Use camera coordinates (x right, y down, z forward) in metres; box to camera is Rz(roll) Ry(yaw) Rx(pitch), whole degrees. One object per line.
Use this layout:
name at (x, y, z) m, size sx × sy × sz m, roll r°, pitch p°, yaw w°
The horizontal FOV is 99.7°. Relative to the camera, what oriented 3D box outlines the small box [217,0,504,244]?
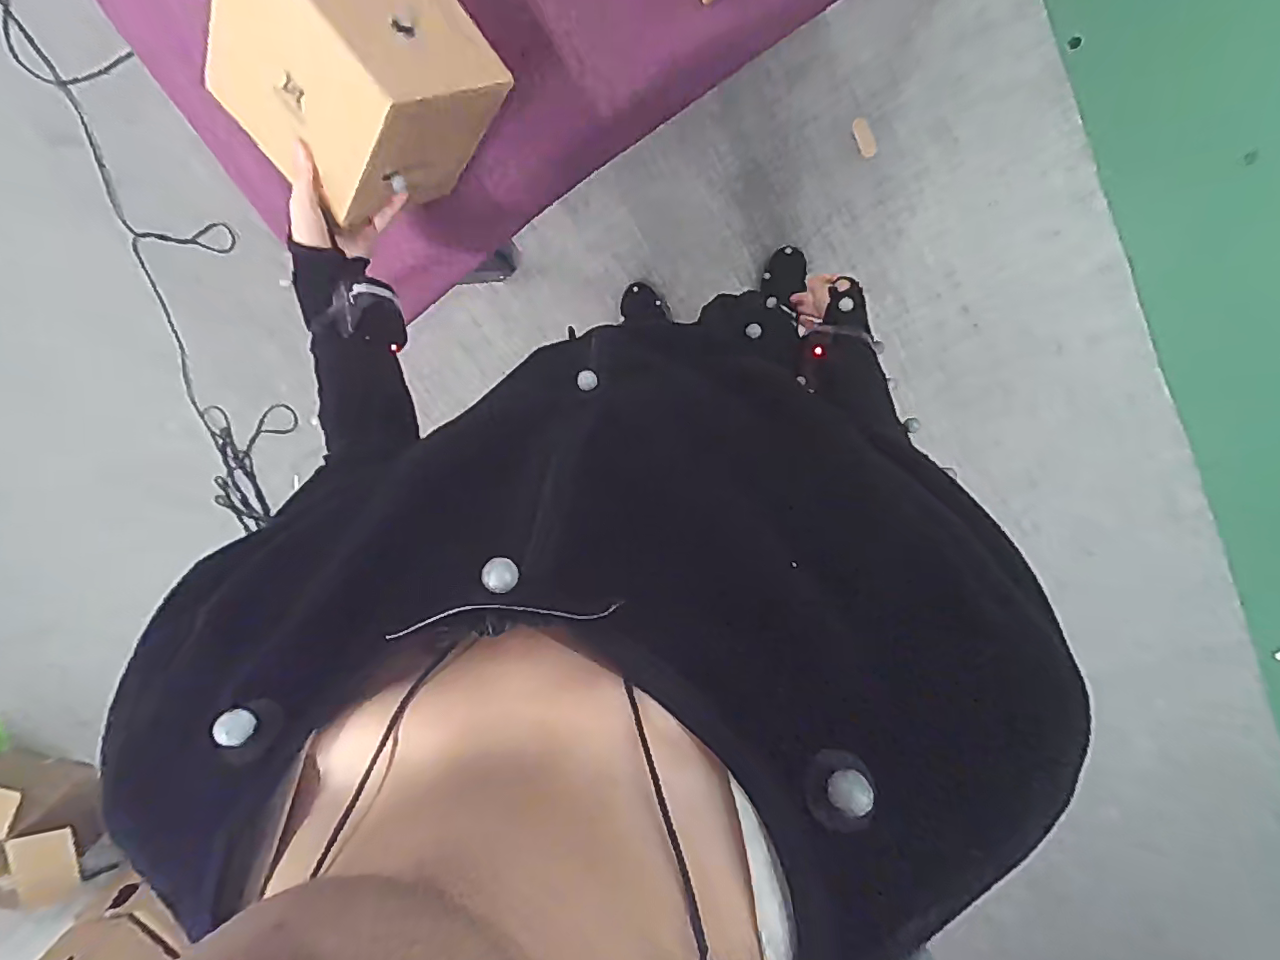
small box at (-0.262, -0.376, 0.527) m, size 0.168 × 0.176 × 0.179 m, roll 50°, pitch 140°, yaw -15°
